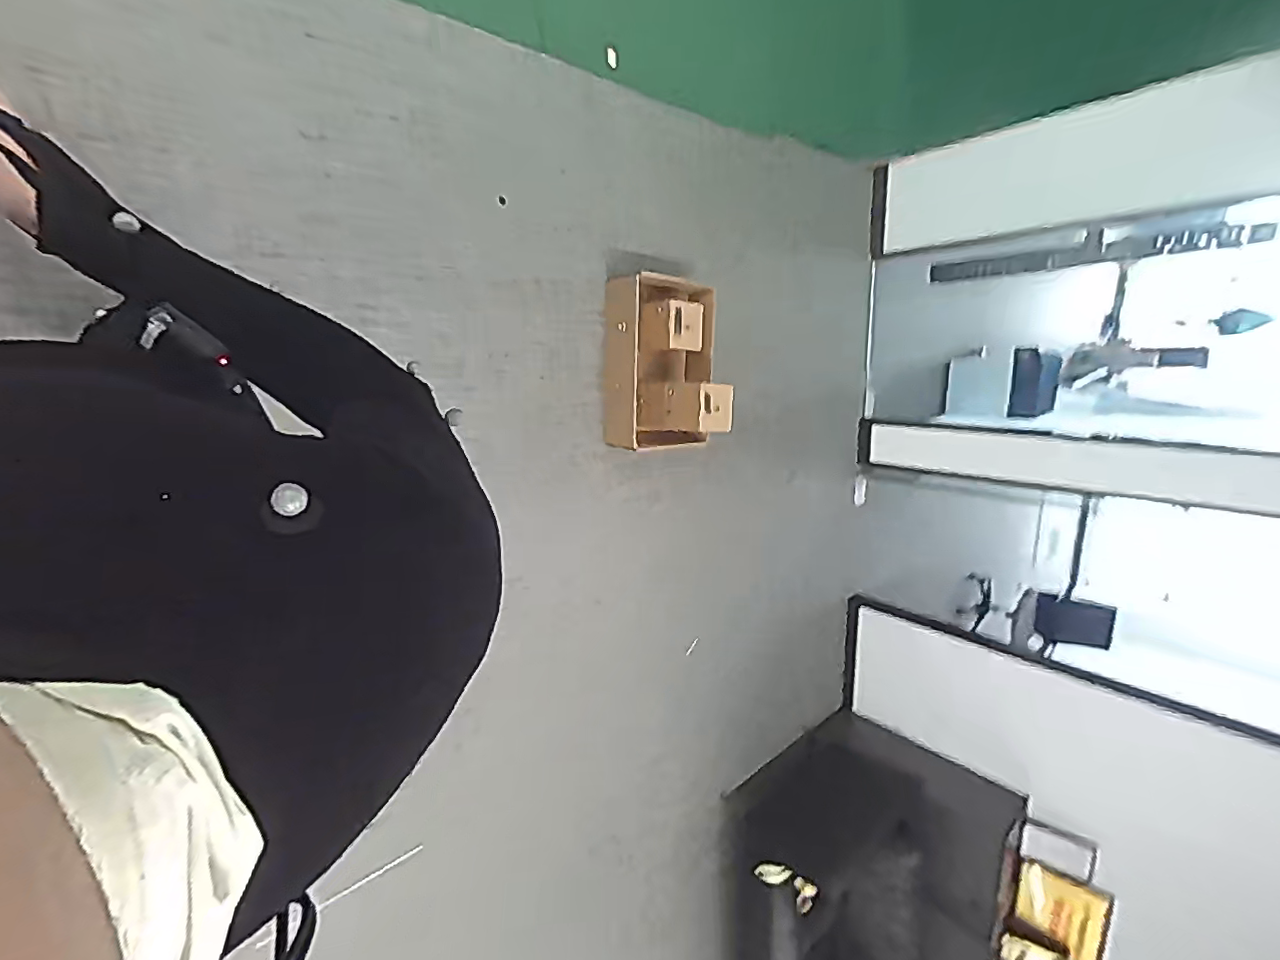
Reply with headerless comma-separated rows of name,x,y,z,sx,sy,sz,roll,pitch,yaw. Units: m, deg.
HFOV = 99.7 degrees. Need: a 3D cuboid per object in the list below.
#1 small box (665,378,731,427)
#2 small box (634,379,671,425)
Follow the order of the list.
small box,0.206,-0.276,1.944,0.179,0.176,0.168,-6,102,-42
small box,0.098,-0.299,2.065,0.179,0.176,0.168,-8,103,-40
